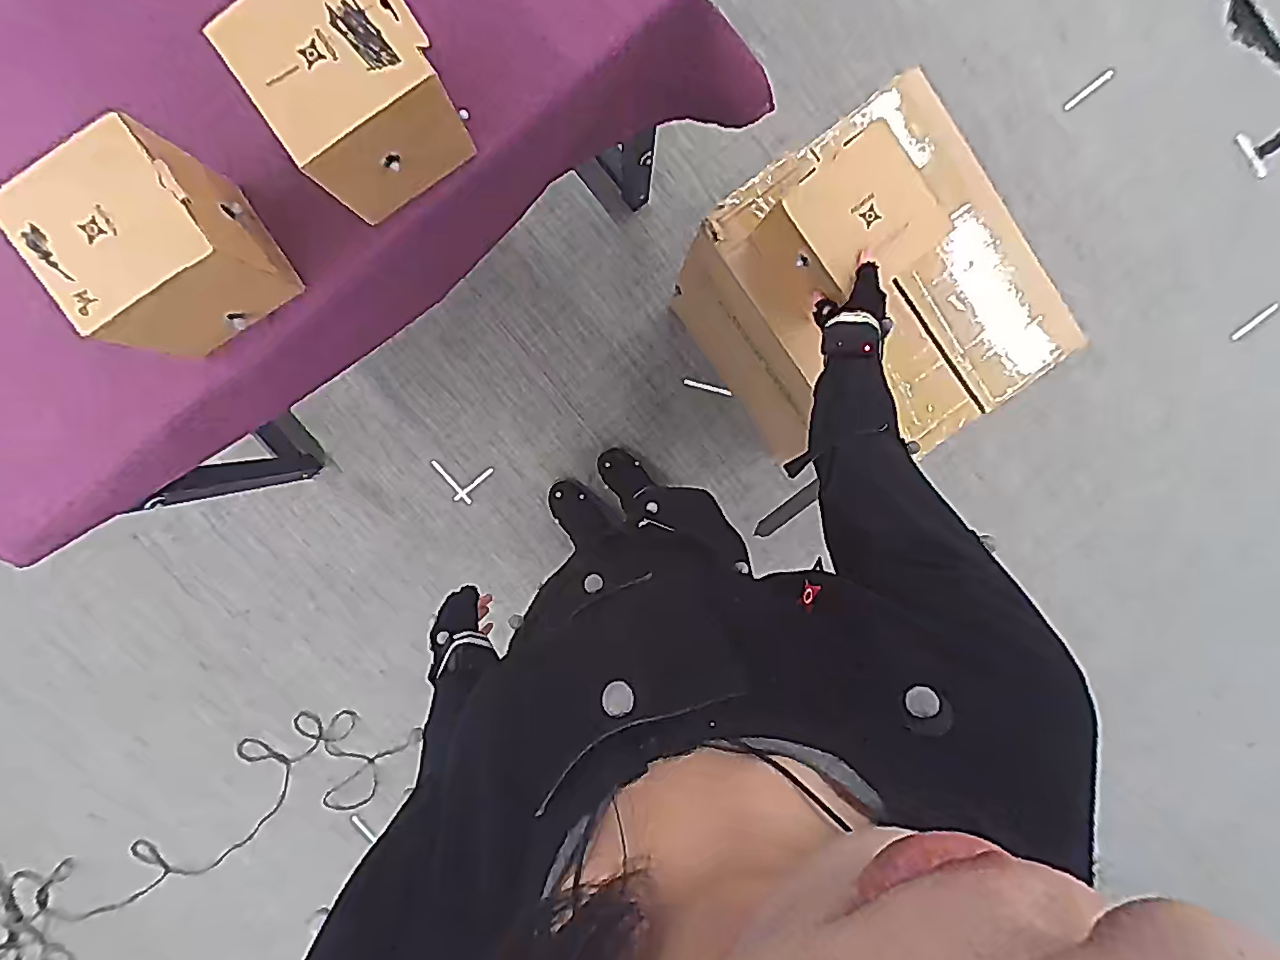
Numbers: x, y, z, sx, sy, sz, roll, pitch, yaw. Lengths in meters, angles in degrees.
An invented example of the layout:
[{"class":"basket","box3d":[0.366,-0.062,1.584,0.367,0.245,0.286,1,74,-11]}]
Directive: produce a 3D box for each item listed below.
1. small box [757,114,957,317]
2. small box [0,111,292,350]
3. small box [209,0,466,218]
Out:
[{"class":"small box","box3d":[0.291,-0.356,0.770,0.168,0.176,0.179,-39,98,5]},{"class":"small box","box3d":[-0.561,-0.276,0.644,0.179,0.176,0.168,-32,95,1]},{"class":"small box","box3d":[-0.327,-0.450,0.634,0.179,0.176,0.168,-33,95,2]}]
